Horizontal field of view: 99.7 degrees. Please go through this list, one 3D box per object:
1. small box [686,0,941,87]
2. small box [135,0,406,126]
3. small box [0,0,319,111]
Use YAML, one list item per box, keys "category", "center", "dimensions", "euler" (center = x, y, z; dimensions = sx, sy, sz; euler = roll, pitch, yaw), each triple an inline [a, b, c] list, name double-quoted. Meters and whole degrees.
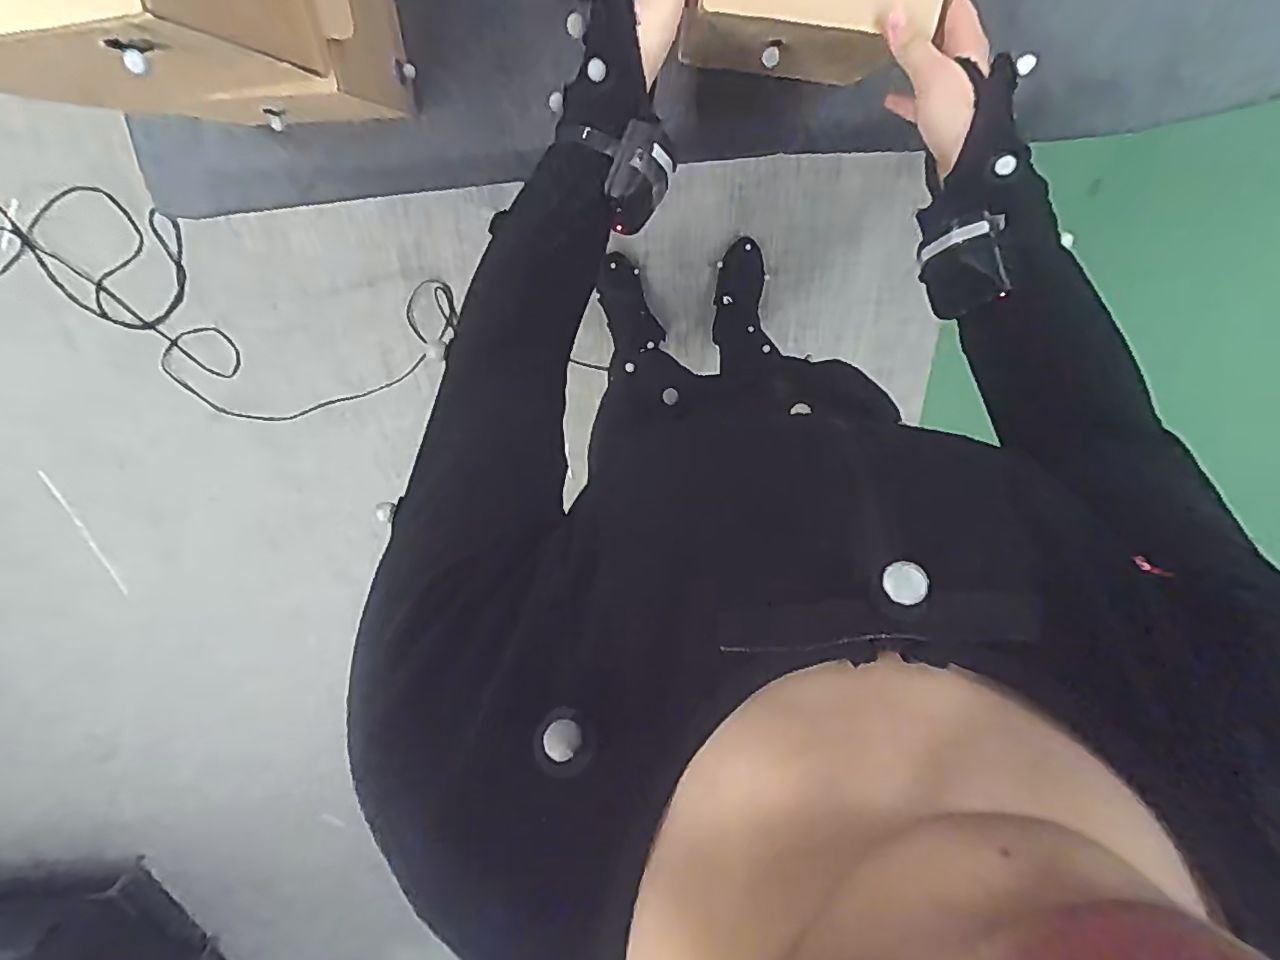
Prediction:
- category: "small box"
  center: [0.134, -0.430, 0.426]
  dimensions: [0.179, 0.176, 0.168]
  euler: [5, 118, -2]
- category: "small box"
  center: [-0.312, -0.396, 0.441]
  dimensions: [0.179, 0.176, 0.168]
  euler: [-2, 119, 1]
- category: "small box"
  center: [-0.327, -0.320, 0.298]
  dimensions: [0.179, 0.176, 0.168]
  euler: [-7, 118, 3]
